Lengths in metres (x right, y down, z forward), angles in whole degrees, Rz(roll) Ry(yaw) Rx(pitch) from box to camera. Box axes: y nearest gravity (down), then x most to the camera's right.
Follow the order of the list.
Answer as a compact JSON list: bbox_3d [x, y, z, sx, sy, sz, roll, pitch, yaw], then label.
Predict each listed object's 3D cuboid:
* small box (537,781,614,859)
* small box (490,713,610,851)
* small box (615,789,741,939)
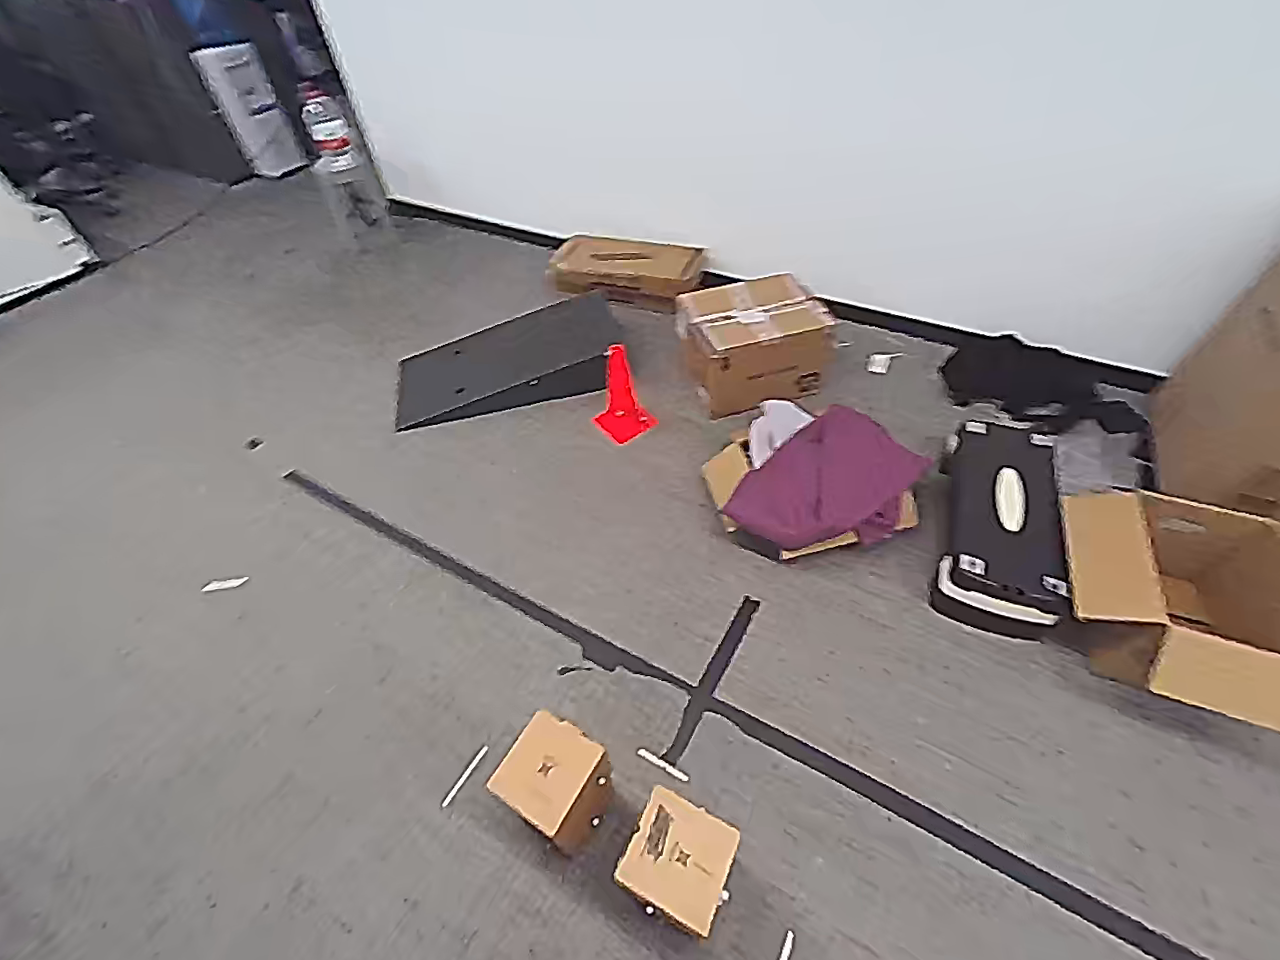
[{"bbox_3d":[-0.175,0.733,1.239,0.179,0.176,0.168,24,54,23],"label":"small box"},{"bbox_3d":[-0.175,0.625,1.117,0.168,0.176,0.179,22,55,23],"label":"small box"},{"bbox_3d":[0.072,0.722,1.014,0.179,0.176,0.168,21,53,20],"label":"small box"}]
